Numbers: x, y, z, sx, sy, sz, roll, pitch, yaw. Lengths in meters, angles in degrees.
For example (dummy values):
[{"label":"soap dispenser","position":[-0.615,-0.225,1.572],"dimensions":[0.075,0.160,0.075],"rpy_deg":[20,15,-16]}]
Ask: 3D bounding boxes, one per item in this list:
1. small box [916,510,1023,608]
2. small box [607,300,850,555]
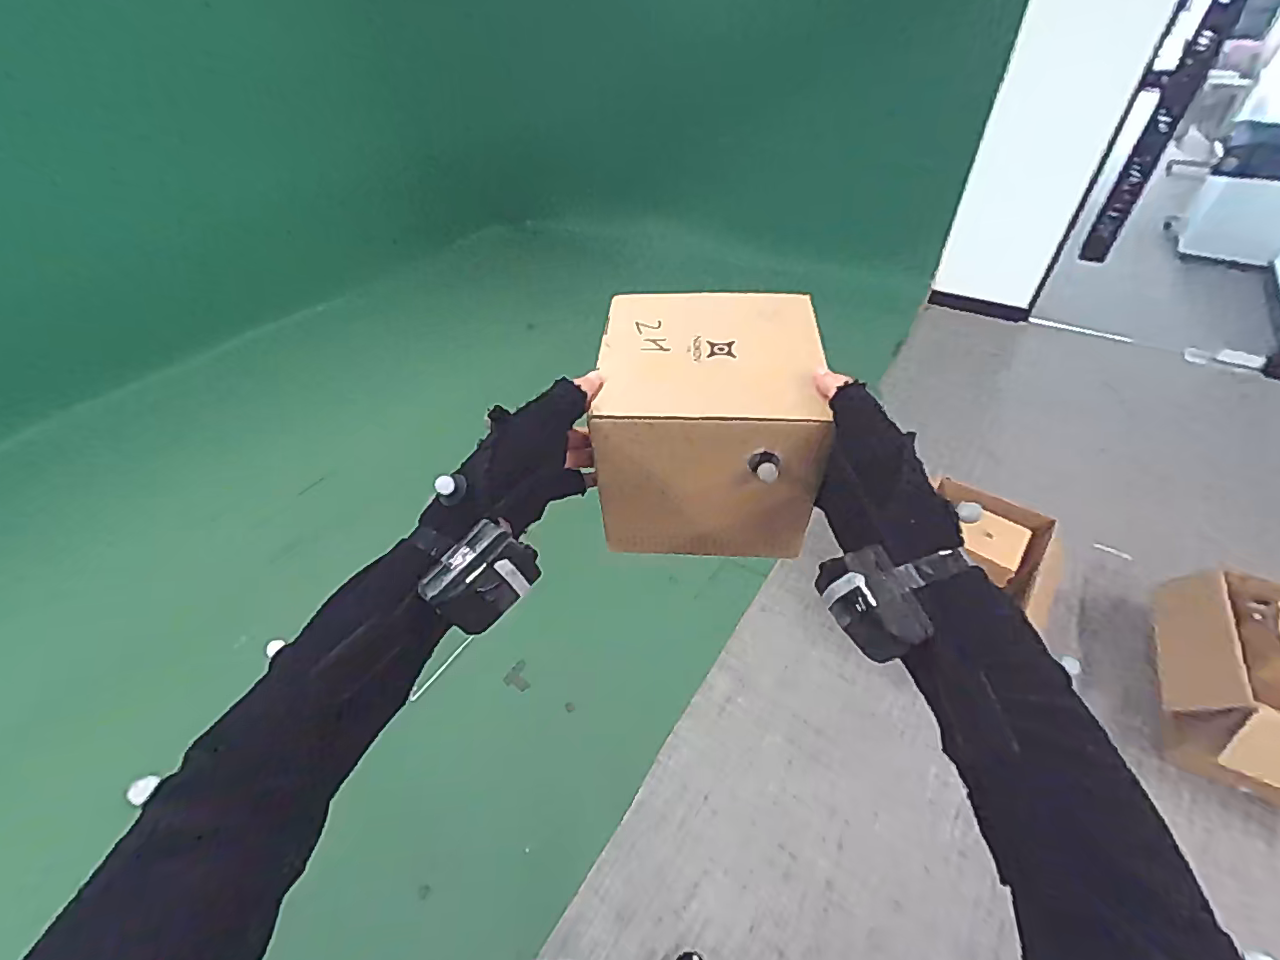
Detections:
[{"label":"small box","position":[0.889,0.221,1.469],"dimensions":[0.179,0.176,0.168],"rpy_deg":[29,52,28]},{"label":"small box","position":[0.072,-0.045,0.497],"dimensions":[0.179,0.176,0.168],"rpy_deg":[2,47,5]}]
